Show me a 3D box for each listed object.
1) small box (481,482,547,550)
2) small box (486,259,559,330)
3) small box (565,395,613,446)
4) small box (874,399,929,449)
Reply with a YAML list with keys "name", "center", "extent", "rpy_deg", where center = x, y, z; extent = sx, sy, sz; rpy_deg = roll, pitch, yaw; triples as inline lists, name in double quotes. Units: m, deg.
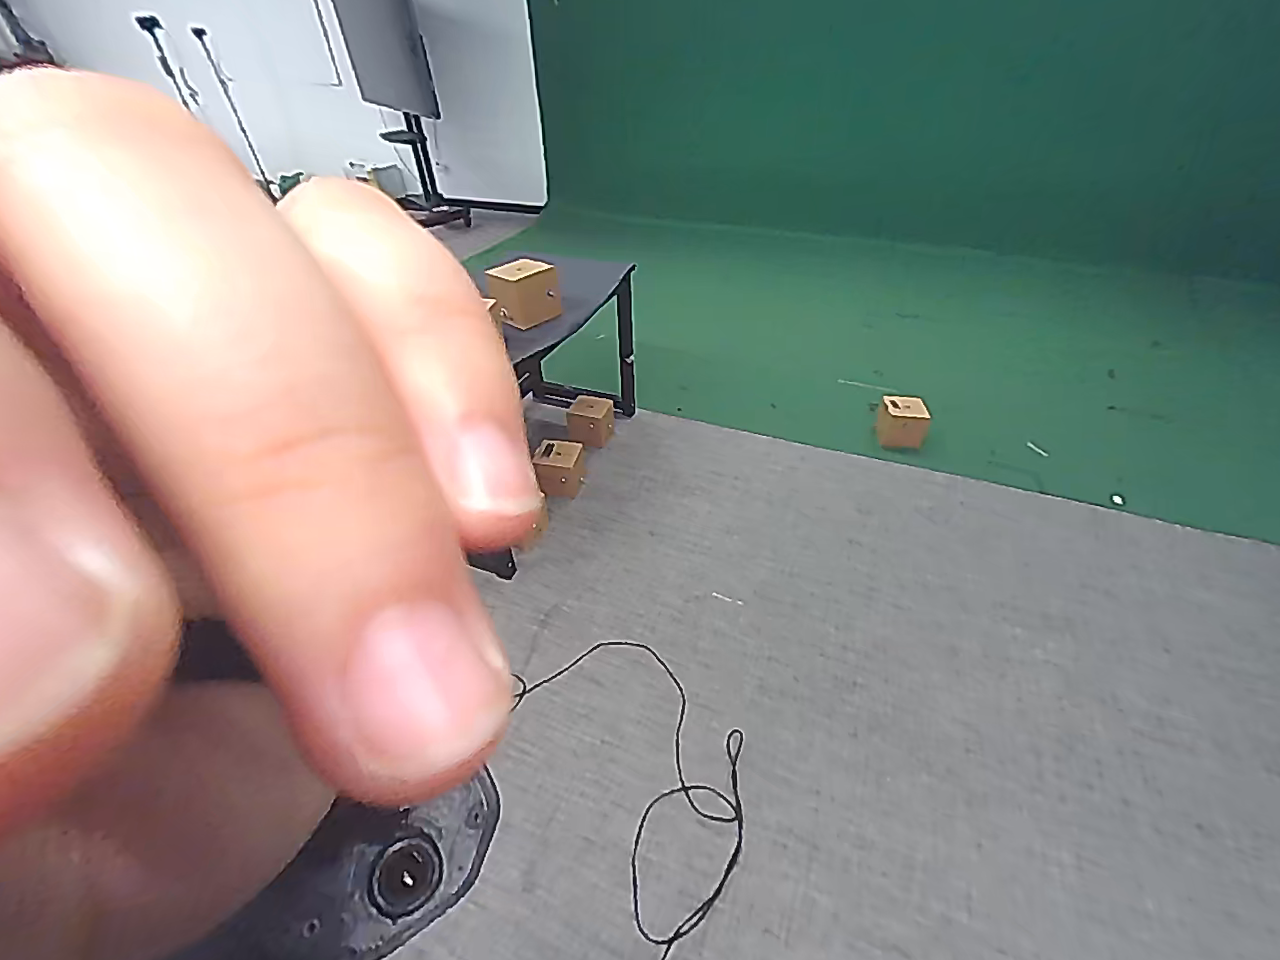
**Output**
- name: "small box"
  center: [-0.472, 0.140, 2.059]
  extent: [0.179, 0.176, 0.168]
  rpy_deg: [17, 44, 20]
- name: "small box"
  center: [-0.392, -0.633, 1.841]
  extent: [0.168, 0.176, 0.179]
  rpy_deg: [27, 49, 33]
- name: "small box"
  center: [-0.235, -0.277, 2.541]
  extent: [0.179, 0.176, 0.168]
  rpy_deg: [11, 41, 13]
- name: "small box"
  center: [1.197, -0.258, 2.496]
  extent: [0.179, 0.176, 0.168]
  rpy_deg: [4, 41, 5]
